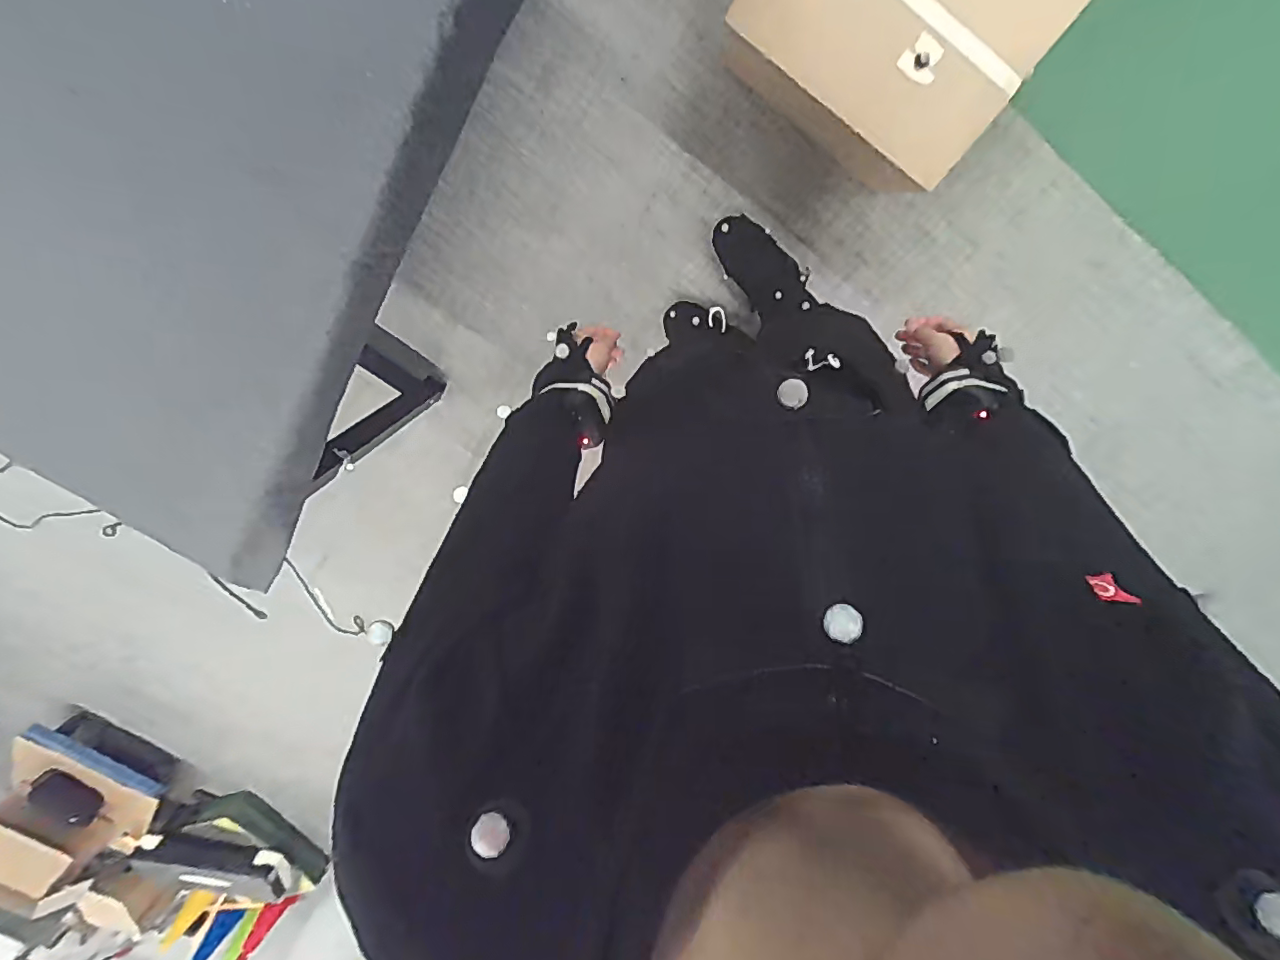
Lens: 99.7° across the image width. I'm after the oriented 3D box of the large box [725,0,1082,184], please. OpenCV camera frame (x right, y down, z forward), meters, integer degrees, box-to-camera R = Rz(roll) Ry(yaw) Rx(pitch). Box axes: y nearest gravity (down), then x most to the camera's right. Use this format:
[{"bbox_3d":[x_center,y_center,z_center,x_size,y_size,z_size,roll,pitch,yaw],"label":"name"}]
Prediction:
[{"bbox_3d":[0.387,-0.738,0.865,0.408,0.320,0.320,32,118,-9],"label":"large box"}]
